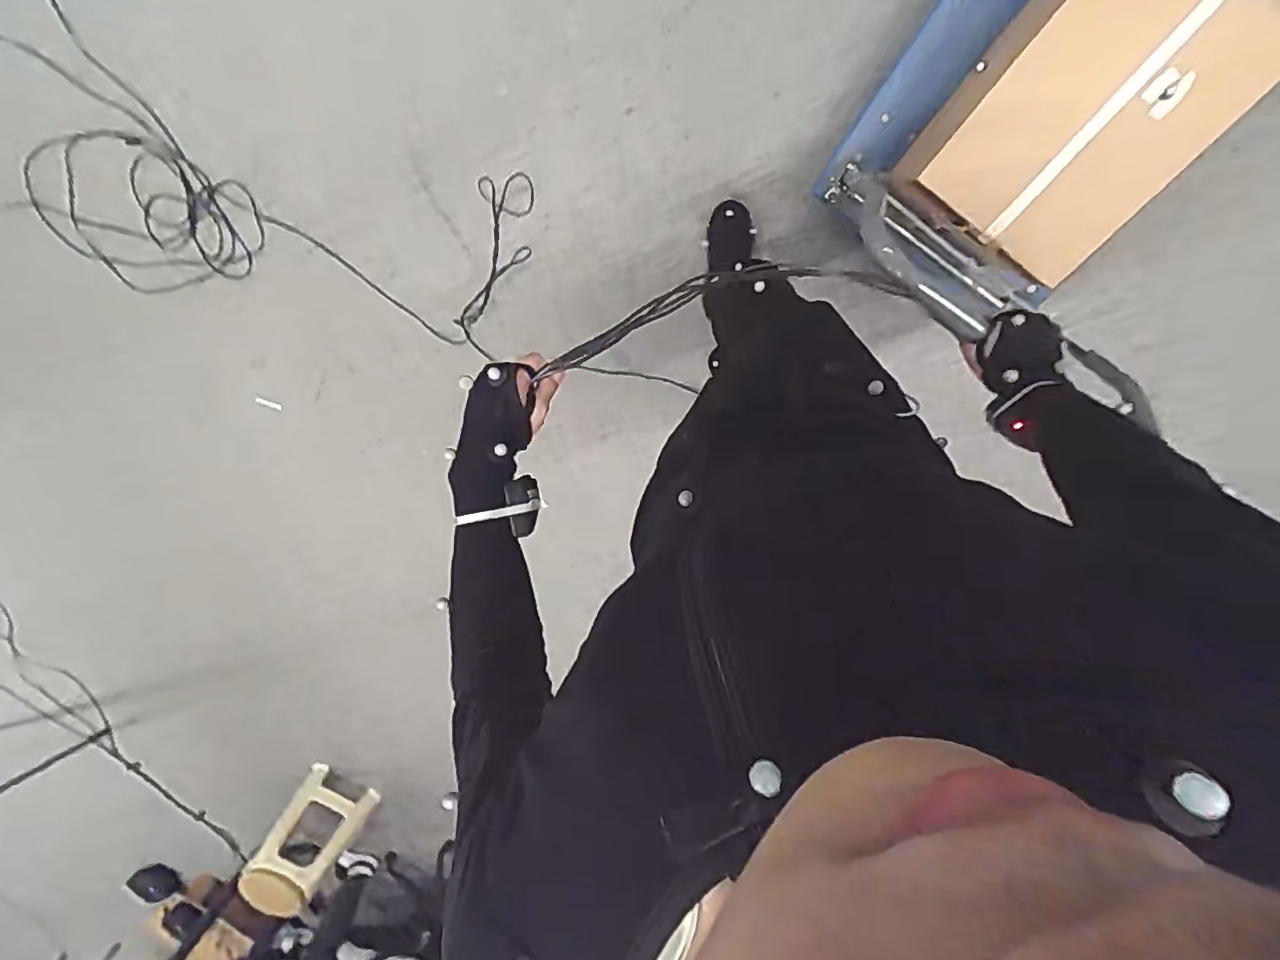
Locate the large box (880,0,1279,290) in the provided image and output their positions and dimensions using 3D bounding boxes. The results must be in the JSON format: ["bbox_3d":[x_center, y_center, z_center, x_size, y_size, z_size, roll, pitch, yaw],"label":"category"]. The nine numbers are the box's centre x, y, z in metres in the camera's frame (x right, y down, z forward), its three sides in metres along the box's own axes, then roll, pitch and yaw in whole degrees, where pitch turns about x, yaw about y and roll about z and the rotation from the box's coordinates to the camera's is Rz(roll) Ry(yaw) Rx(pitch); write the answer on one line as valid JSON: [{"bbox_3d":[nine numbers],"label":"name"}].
[{"bbox_3d":[0.716,-0.621,0.975,0.320,0.320,0.408,36,119,-7],"label":"large box"}]
